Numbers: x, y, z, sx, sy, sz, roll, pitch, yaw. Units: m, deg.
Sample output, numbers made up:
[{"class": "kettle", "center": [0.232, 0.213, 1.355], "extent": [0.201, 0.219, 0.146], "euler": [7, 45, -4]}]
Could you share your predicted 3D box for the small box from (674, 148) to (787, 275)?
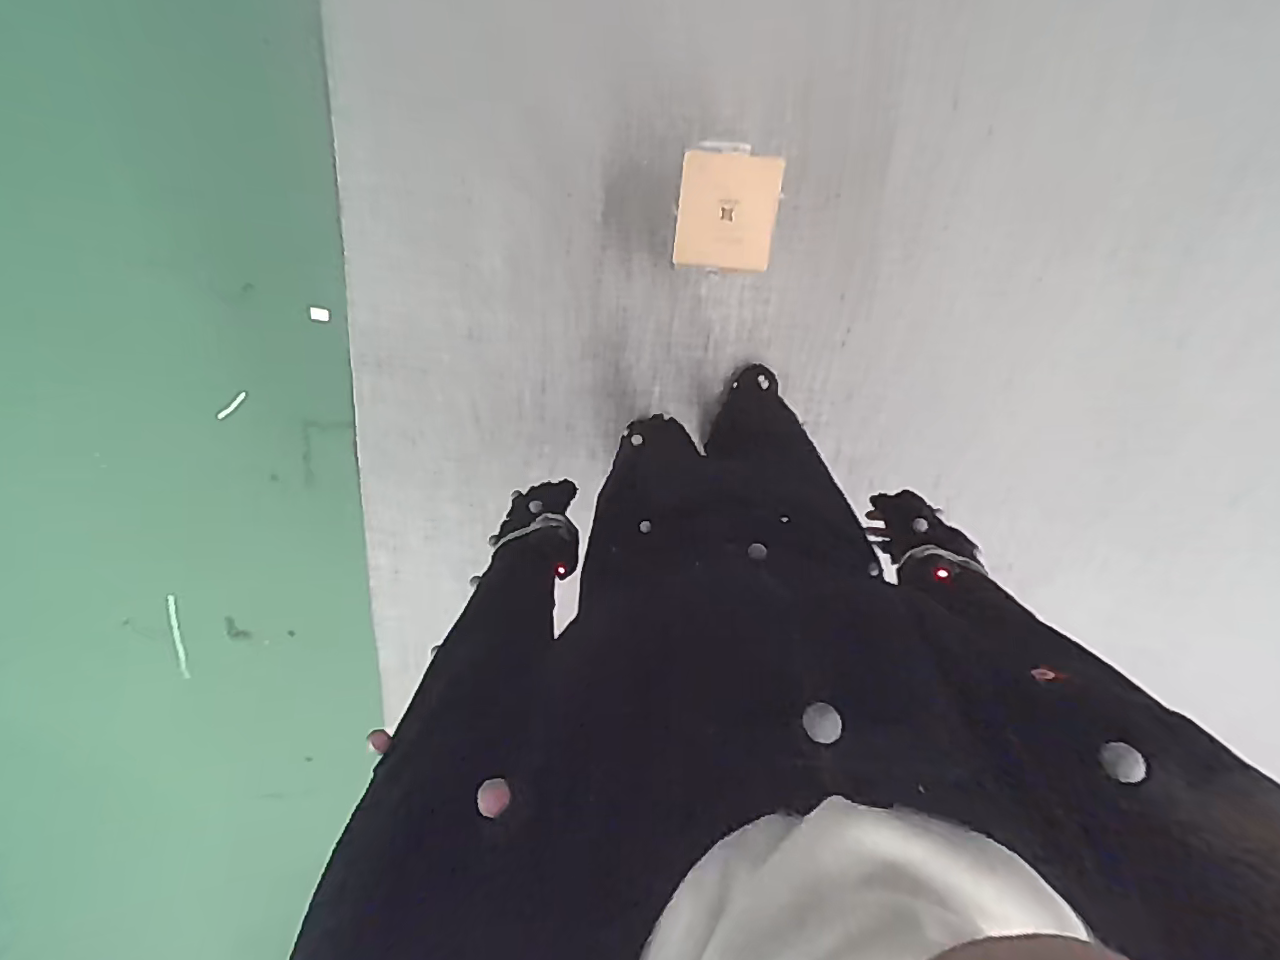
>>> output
[{"class": "small box", "center": [0.158, -0.474, 0.978], "extent": [0.168, 0.176, 0.179], "euler": [9, 111, 6]}]
